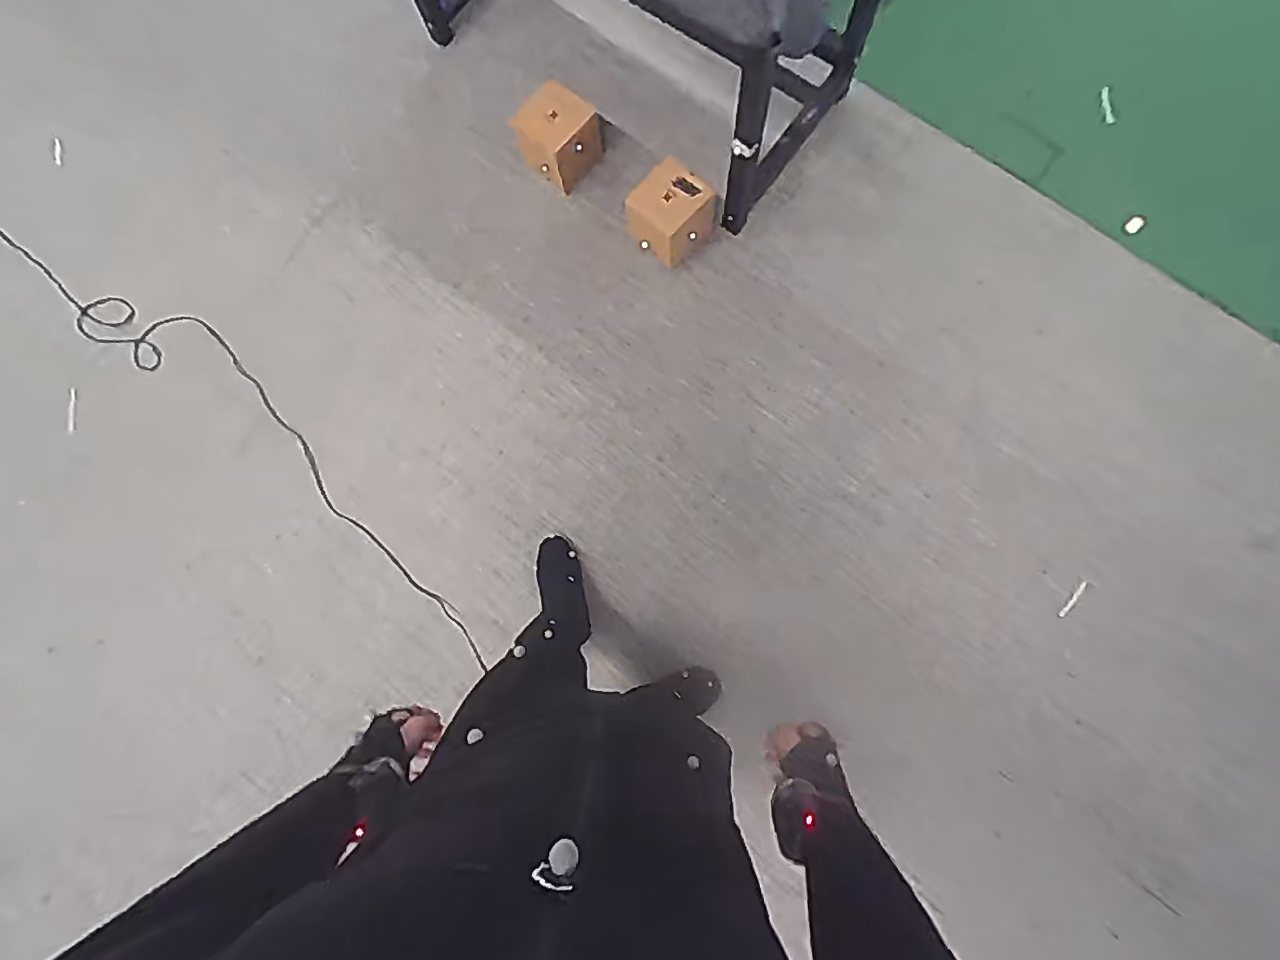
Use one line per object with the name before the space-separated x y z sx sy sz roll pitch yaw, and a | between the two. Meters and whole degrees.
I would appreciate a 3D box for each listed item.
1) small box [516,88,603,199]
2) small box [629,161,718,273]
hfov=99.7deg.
small box | -0.222 -0.957 1.554 0.168 0.176 0.179 40 84 8
small box | 0.091 -0.714 1.484 0.168 0.176 0.179 44 87 10
